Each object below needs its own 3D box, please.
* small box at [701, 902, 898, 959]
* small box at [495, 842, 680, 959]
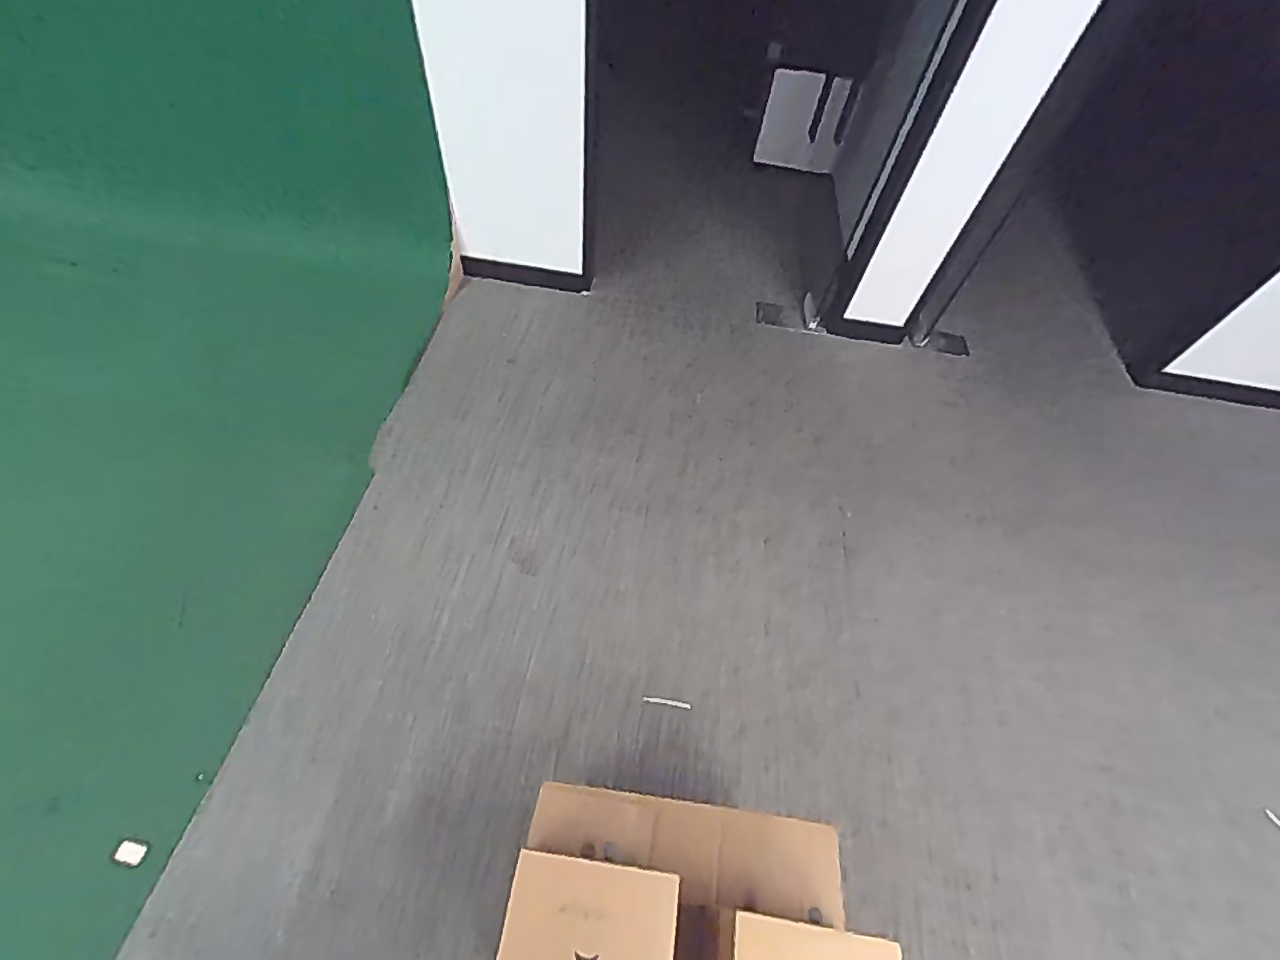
[{"bbox_3d":[0.152,0.556,0.551,0.168,0.176,0.179,11,55,2],"label":"small box"},{"bbox_3d":[-0.063,0.499,0.566,0.168,0.176,0.179,12,56,-2],"label":"small box"}]
